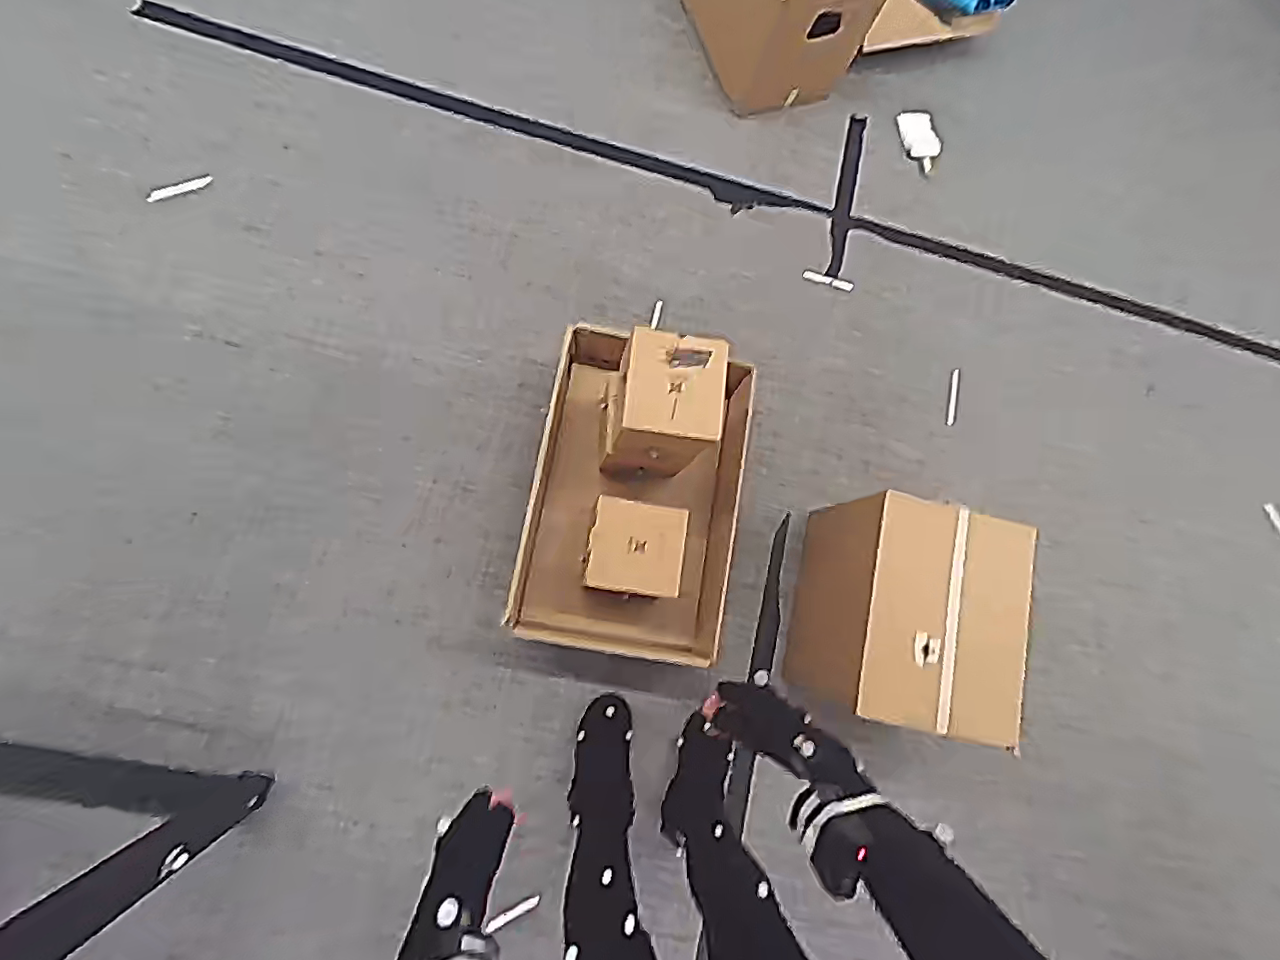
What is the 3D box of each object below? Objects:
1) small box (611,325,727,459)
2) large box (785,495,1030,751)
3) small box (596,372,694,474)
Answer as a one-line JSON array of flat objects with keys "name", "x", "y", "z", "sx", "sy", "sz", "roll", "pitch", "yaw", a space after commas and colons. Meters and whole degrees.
[{"name": "small box", "x": 0.044, "y": -0.146, "z": 0.957, "sx": 0.168, "sy": 0.176, "sz": 0.179, "roll": 8, "pitch": 80, "yaw": -8}, {"name": "large box", "x": 0.526, "y": 0.272, "z": 1.108, "sx": 0.320, "sy": 0.320, "sz": 0.408, "roll": 14, "pitch": 79, "yaw": -6}, {"name": "small box", "x": 0.008, "y": -0.110, "z": 1.114, "sx": 0.179, "sy": 0.176, "sz": 0.168, "roll": 4, "pitch": 80, "yaw": -9}]
